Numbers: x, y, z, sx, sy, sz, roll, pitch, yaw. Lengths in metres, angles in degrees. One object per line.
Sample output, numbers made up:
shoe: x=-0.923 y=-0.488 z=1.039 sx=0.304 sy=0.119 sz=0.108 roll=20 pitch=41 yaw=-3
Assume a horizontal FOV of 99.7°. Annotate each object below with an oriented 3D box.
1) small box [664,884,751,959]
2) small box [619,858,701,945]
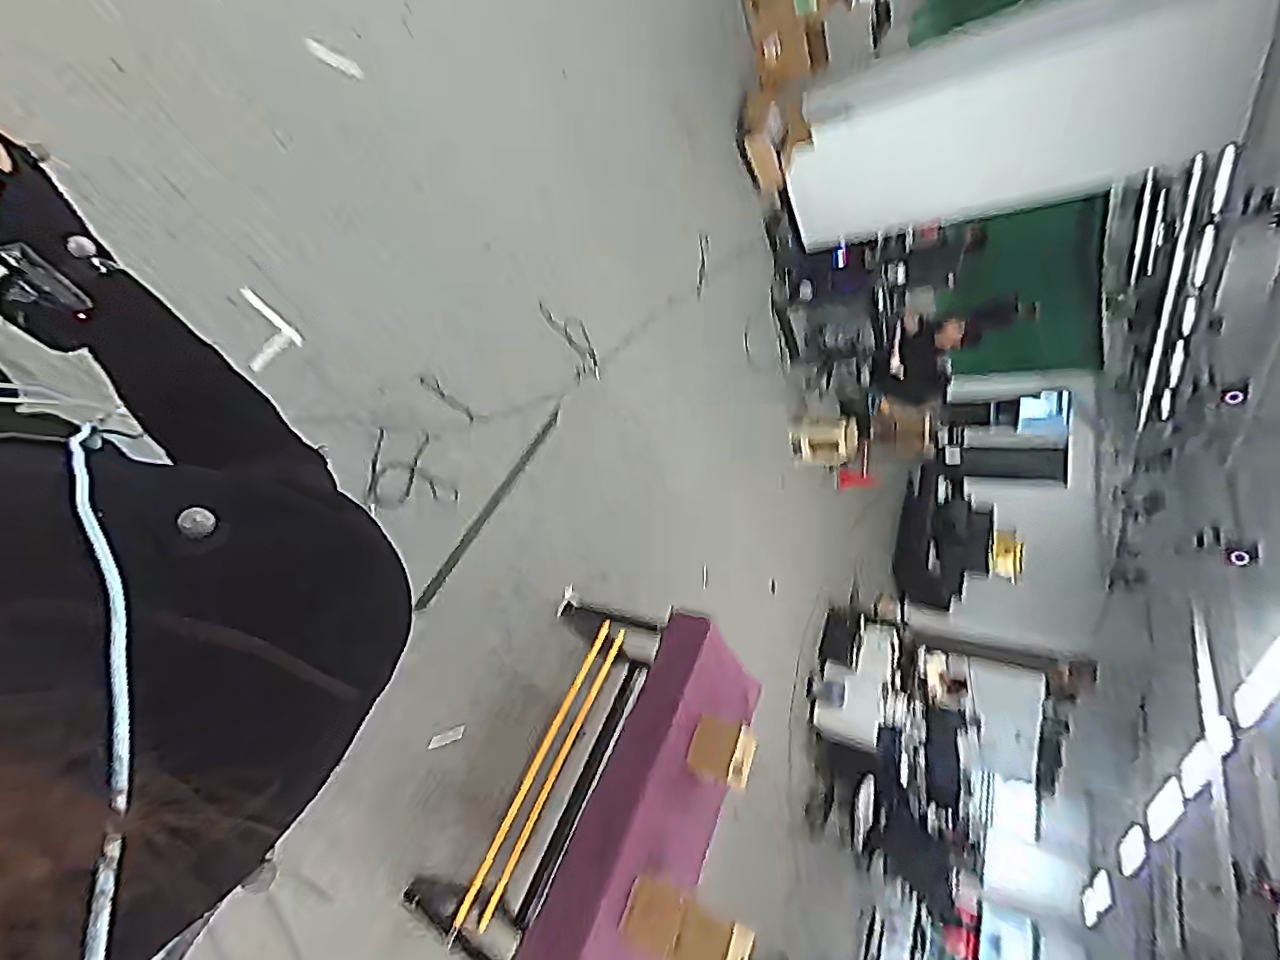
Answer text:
small box: x=0.198 y=1.321 z=1.582 sx=0.179 sy=0.176 sz=0.168 roll=56 pitch=50 yaw=-39
small box: x=0.062 y=1.306 z=1.673 sx=0.179 sy=0.176 sz=0.168 roll=56 pitch=51 yaw=-40
